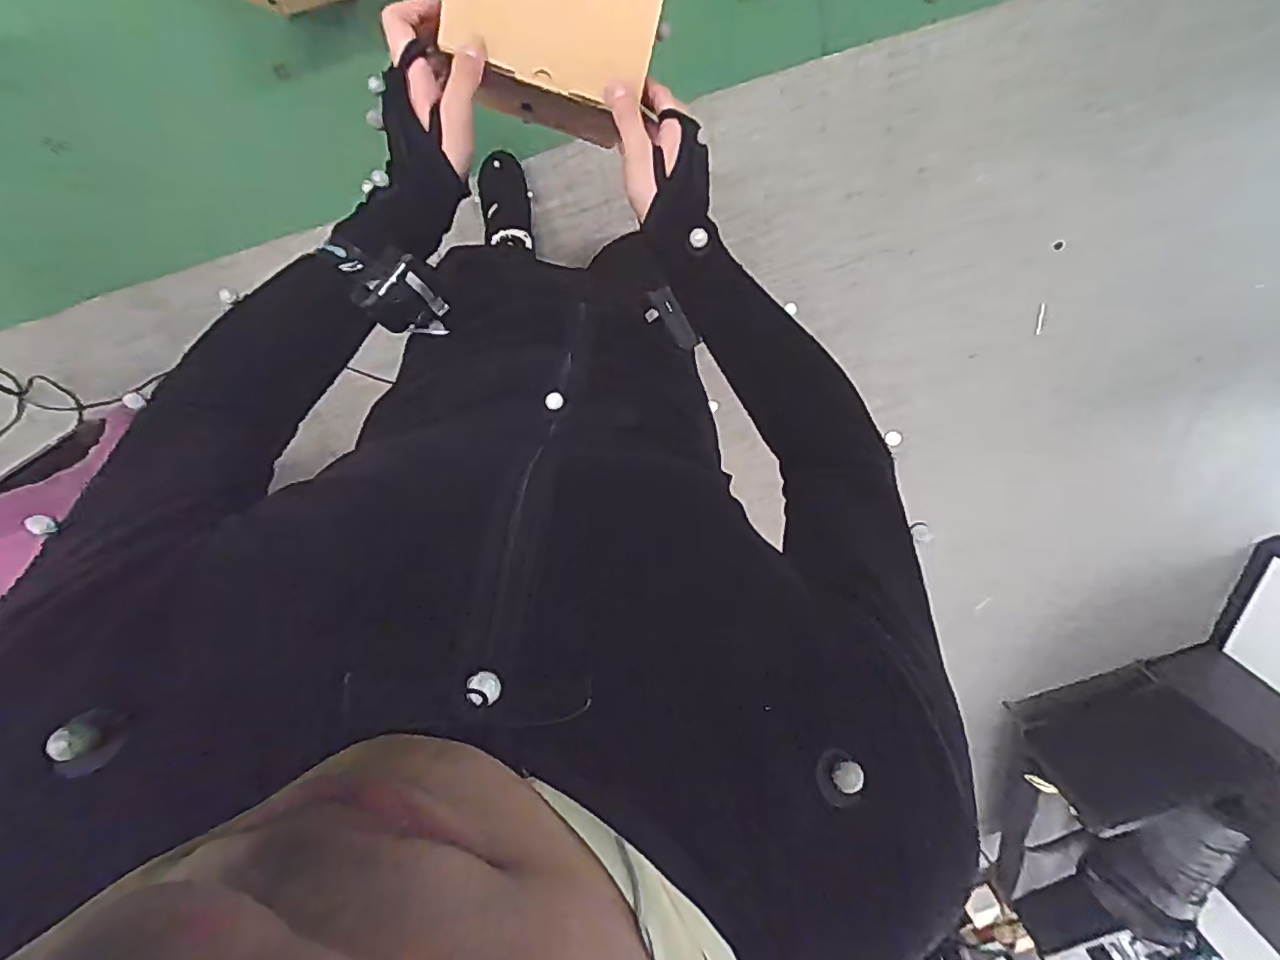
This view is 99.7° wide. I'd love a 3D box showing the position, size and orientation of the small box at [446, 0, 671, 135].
[{"bbox_3d":[-0.066,-0.435,0.477,0.168,0.176,0.179,9,113,-15],"label":"small box"}]
